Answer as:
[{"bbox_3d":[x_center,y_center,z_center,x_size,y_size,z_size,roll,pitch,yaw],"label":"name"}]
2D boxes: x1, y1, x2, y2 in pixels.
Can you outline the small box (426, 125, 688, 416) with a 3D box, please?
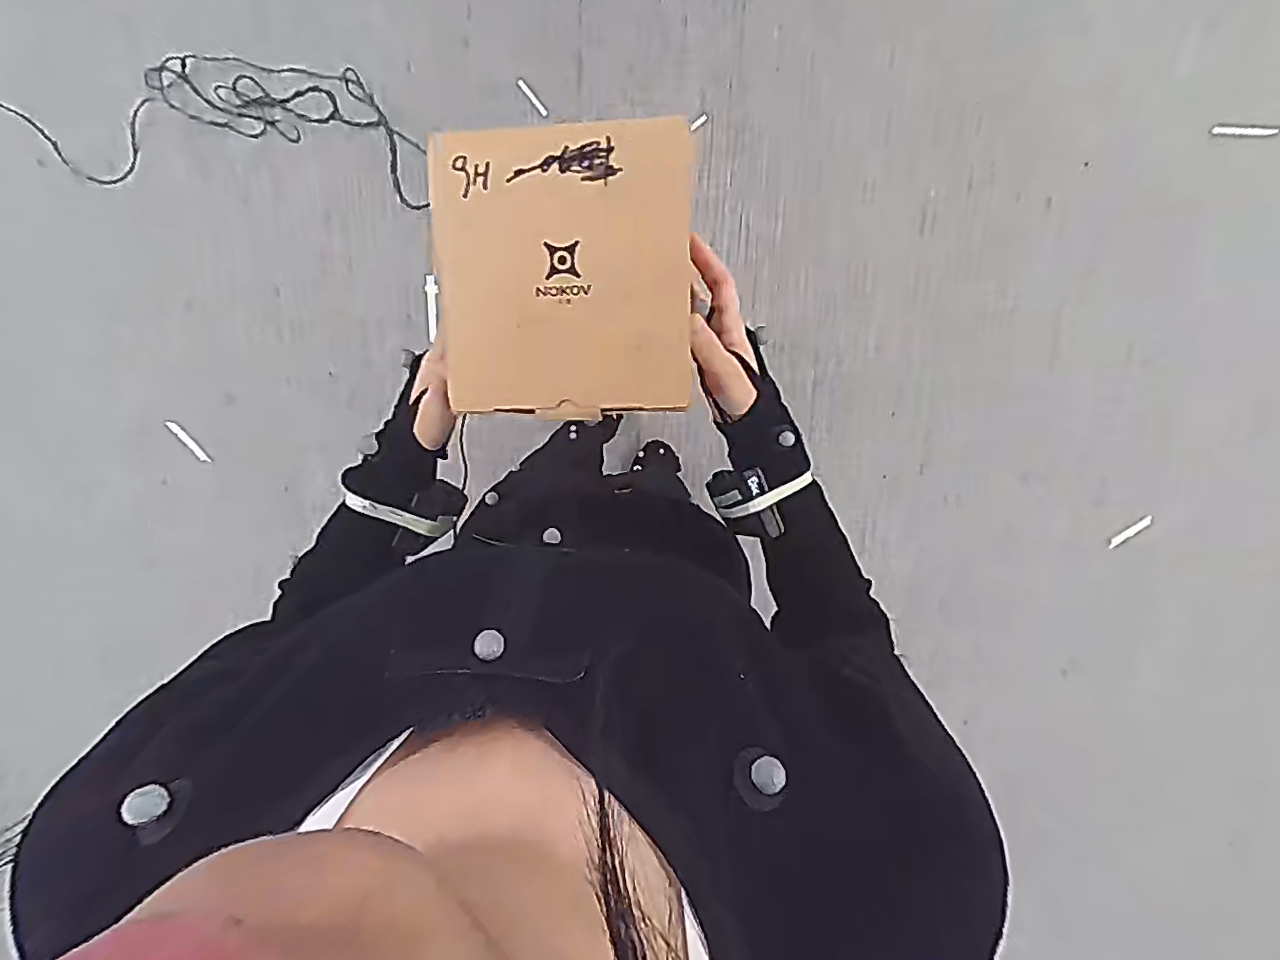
[{"bbox_3d":[-0.046,-0.147,0.428,0.168,0.176,0.179,0,102,4],"label":"small box"}]
